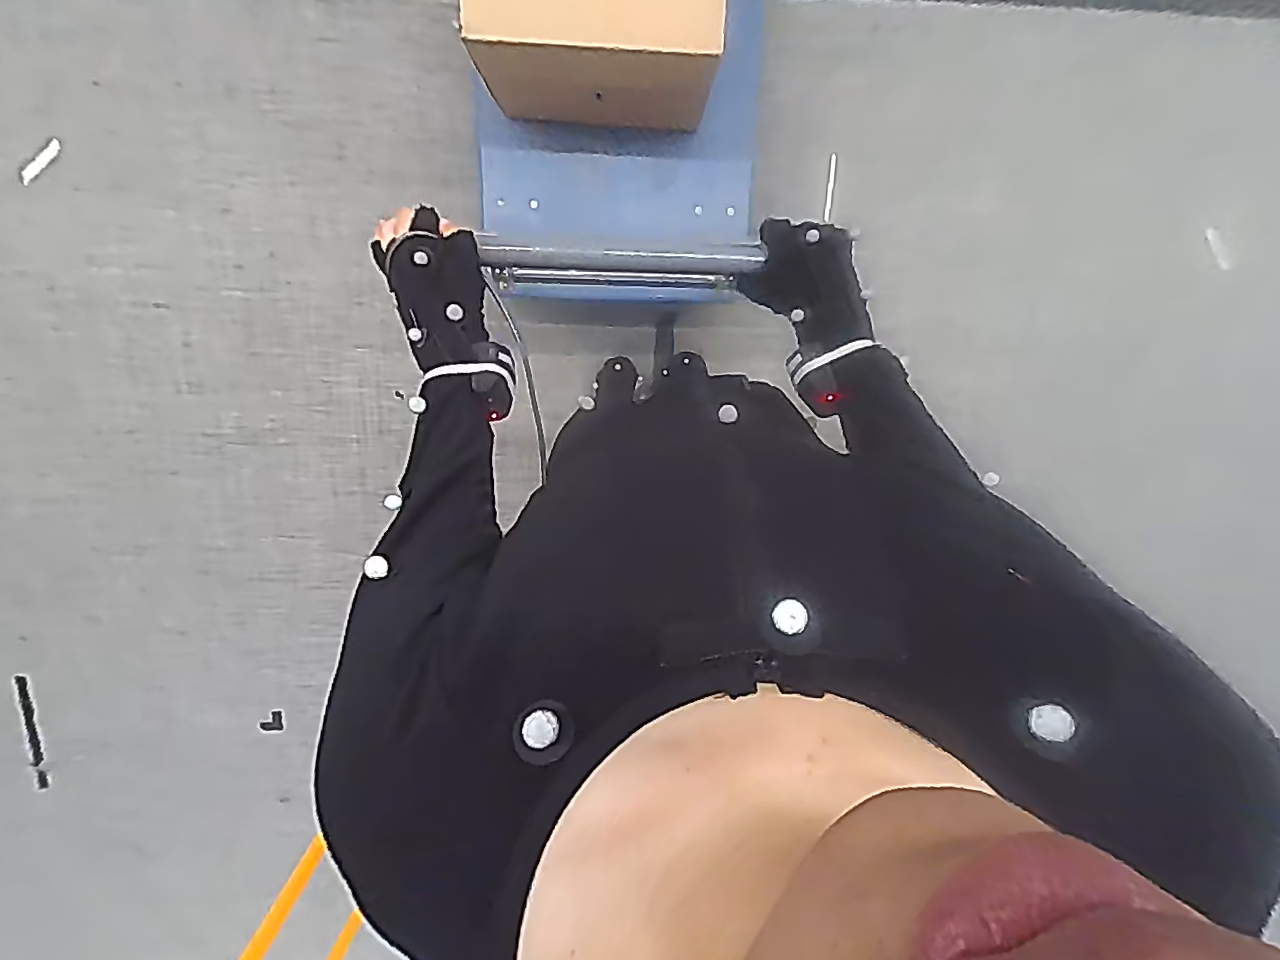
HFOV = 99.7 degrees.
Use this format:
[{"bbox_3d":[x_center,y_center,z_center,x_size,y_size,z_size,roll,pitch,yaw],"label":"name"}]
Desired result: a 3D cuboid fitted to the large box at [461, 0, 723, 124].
[{"bbox_3d":[-0.070,-0.851,0.942,0.408,0.320,0.320,2,104,-1],"label":"large box"}]
